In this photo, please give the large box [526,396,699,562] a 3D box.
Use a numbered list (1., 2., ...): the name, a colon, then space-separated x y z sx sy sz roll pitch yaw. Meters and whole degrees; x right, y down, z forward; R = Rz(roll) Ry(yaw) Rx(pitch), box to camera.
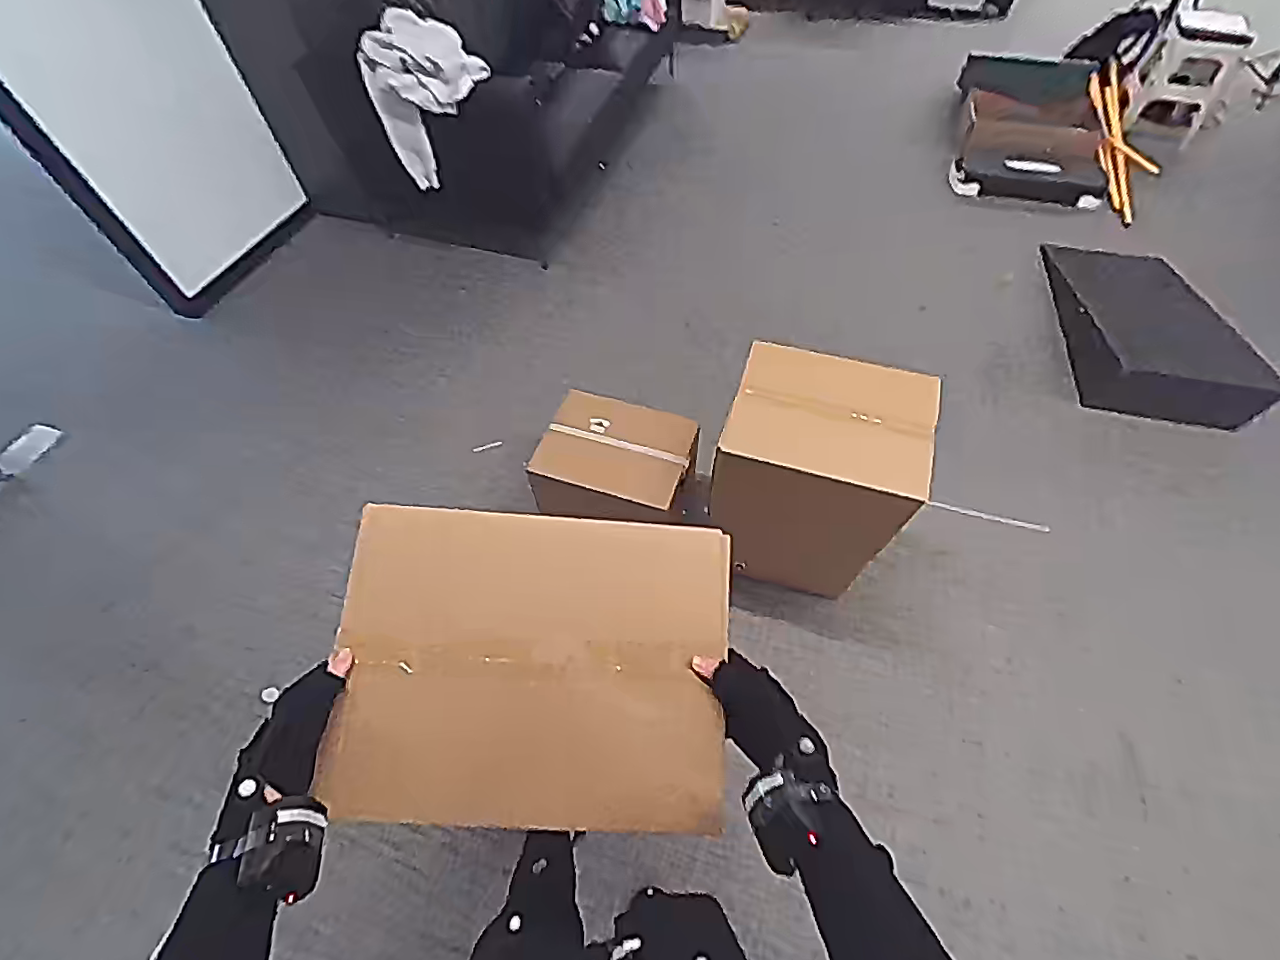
1. large box: -0.060 0.001 1.593 0.408 0.320 0.320 15 57 13
